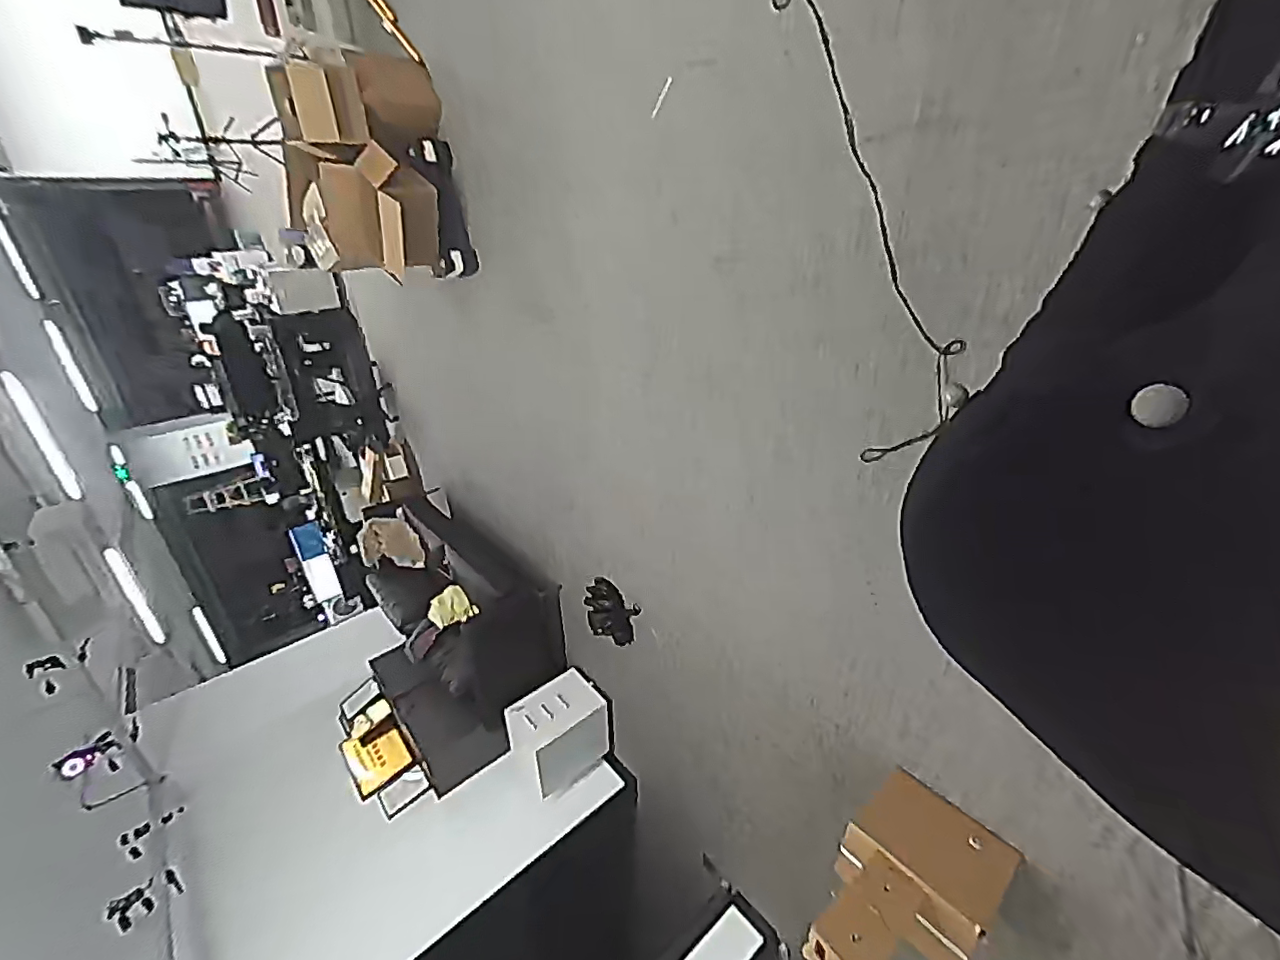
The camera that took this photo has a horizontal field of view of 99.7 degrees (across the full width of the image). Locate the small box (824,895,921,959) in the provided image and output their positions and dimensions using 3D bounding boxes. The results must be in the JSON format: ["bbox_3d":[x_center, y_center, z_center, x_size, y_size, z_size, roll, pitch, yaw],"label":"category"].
[{"bbox_3d":[0.656,1.330,1.531,0.179,0.176,0.168,30,131,42],"label":"small box"}]

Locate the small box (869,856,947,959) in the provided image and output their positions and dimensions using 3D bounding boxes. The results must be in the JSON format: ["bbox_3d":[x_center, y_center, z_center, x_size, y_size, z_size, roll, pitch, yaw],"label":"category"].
[{"bbox_3d":[0.788,1.284,1.618,0.168,0.176,0.179,32,131,42],"label":"small box"}]
